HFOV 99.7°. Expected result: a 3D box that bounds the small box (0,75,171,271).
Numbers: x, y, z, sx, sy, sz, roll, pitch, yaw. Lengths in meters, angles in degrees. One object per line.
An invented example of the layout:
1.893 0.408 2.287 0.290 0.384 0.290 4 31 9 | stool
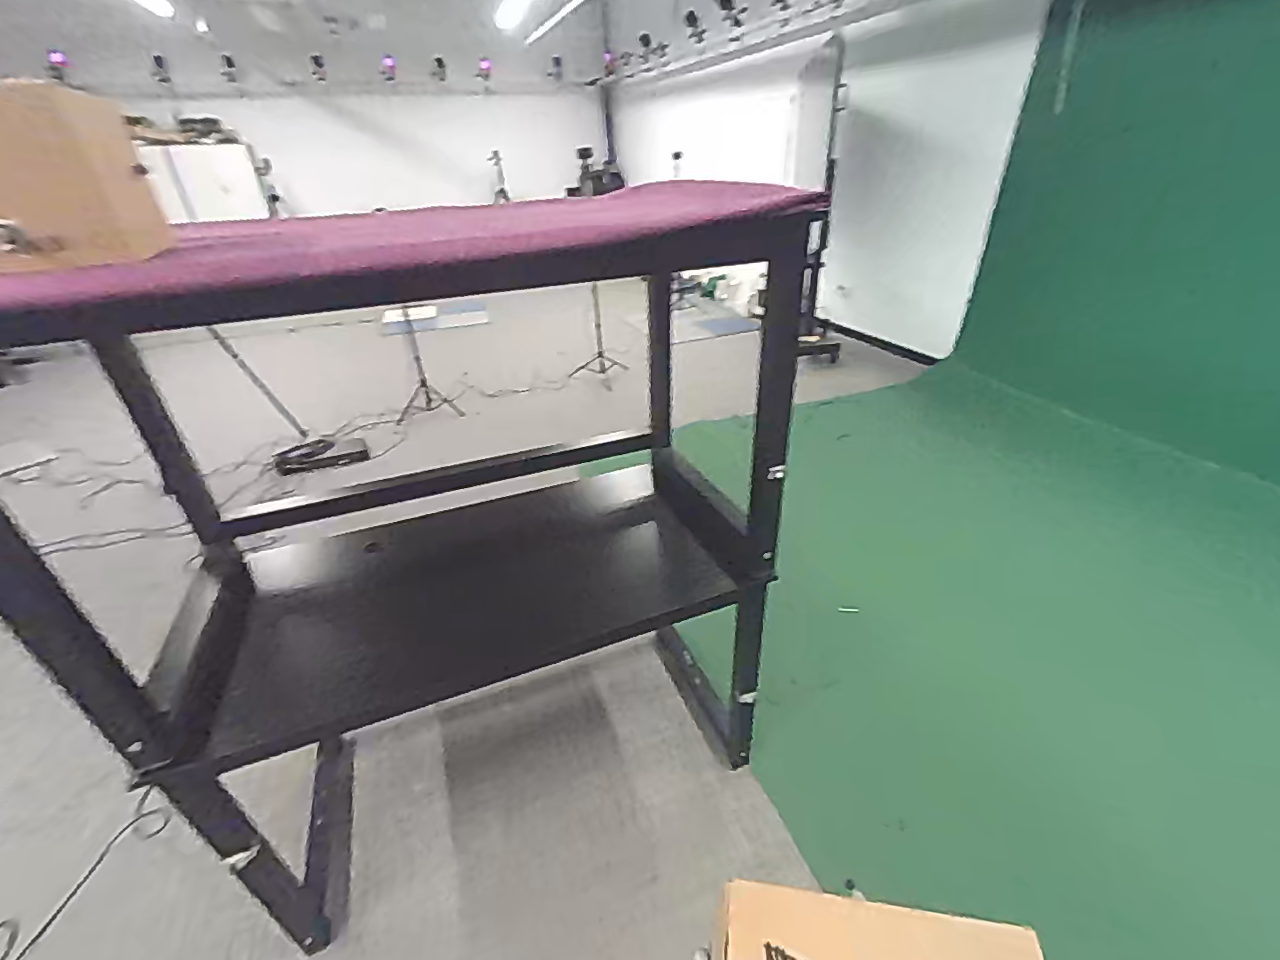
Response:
-0.665 -0.332 0.595 0.168 0.176 0.179 -16 35 -20 | small box
